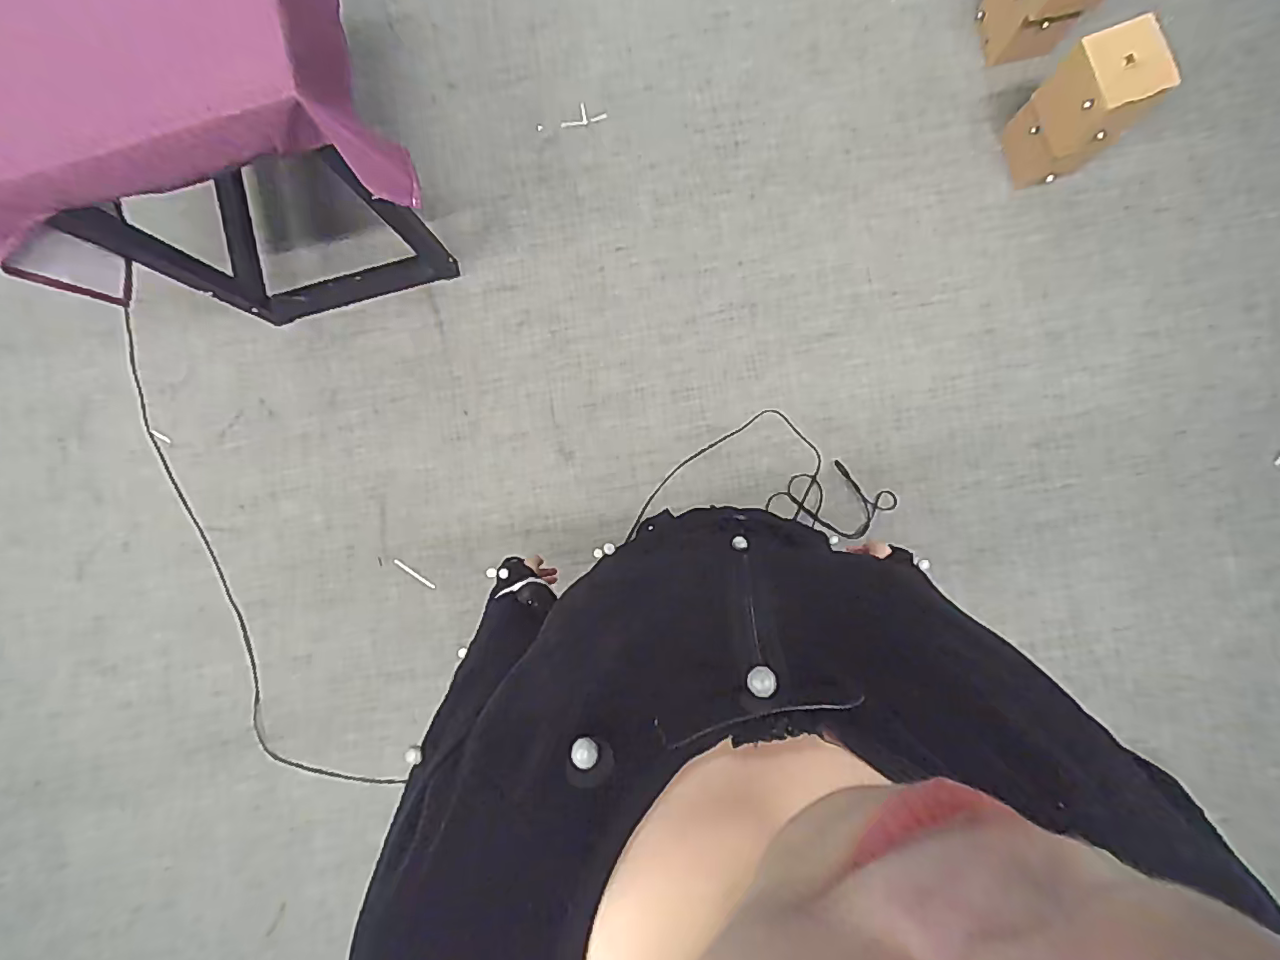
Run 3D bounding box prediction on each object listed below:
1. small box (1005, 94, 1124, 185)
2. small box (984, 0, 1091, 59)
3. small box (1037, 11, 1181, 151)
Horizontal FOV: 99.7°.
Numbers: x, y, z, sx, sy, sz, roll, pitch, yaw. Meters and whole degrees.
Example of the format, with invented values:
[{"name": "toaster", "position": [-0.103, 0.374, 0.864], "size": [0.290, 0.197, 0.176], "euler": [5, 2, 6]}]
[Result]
[{"name": "small box", "position": [1.103, -0.921, 1.423], "size": [0.168, 0.176, 0.179], "euler": [-13, 88, 3]}, {"name": "small box", "position": [1.050, -1.270, 1.437], "size": [0.179, 0.176, 0.168], "euler": [-11, 88, 2]}, {"name": "small box", "position": [1.080, -0.919, 1.262], "size": [0.168, 0.176, 0.179], "euler": [-18, 88, 3]}]
